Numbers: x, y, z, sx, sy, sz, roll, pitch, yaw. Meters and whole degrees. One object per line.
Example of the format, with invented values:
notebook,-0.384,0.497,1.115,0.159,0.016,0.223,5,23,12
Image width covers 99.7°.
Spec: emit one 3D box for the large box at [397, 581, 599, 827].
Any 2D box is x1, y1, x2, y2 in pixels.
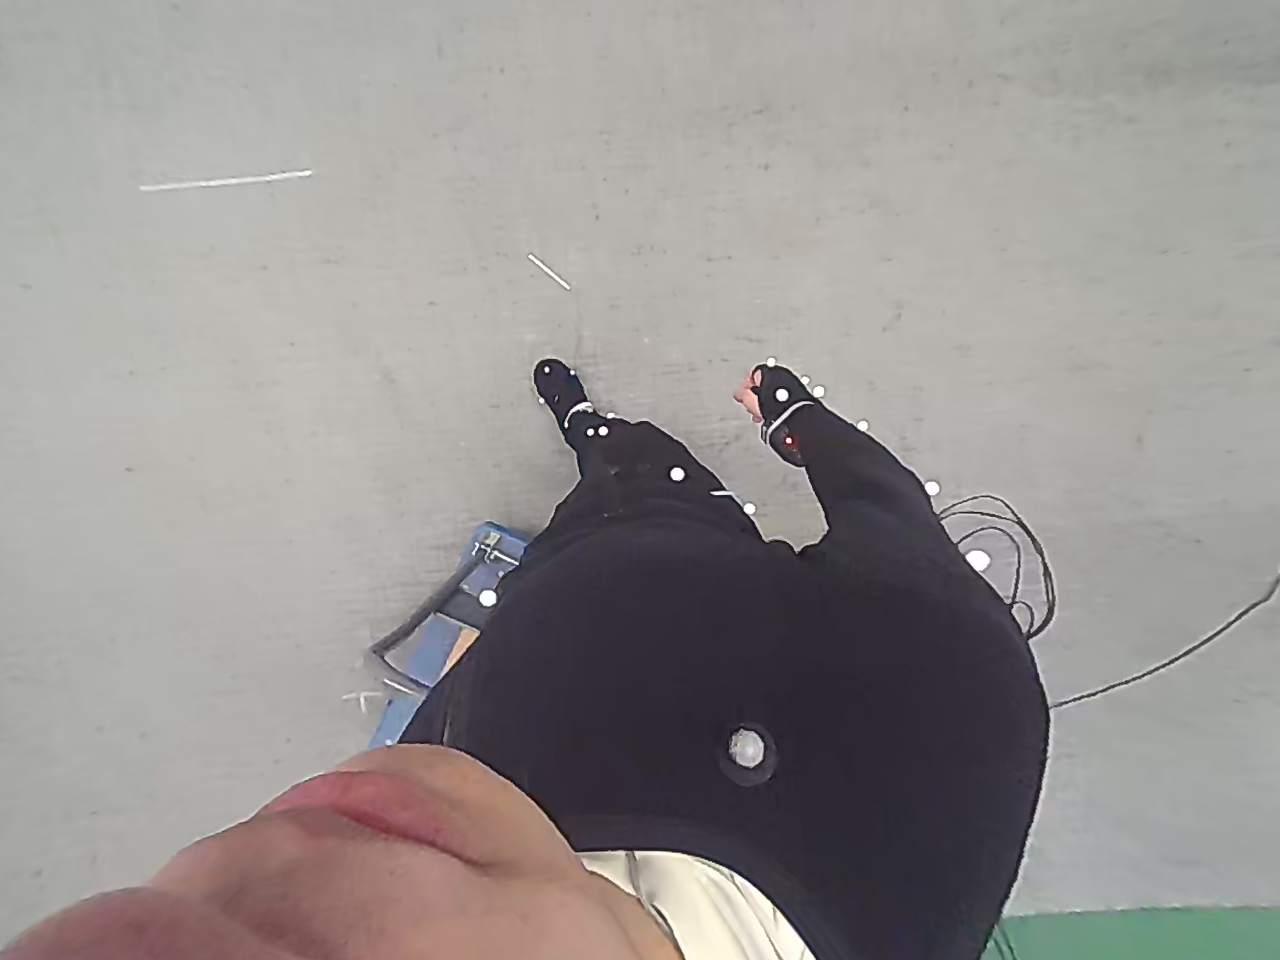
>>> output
large box,-0.323,0.523,1.331,0.320,0.320,0.408,26,96,-4
